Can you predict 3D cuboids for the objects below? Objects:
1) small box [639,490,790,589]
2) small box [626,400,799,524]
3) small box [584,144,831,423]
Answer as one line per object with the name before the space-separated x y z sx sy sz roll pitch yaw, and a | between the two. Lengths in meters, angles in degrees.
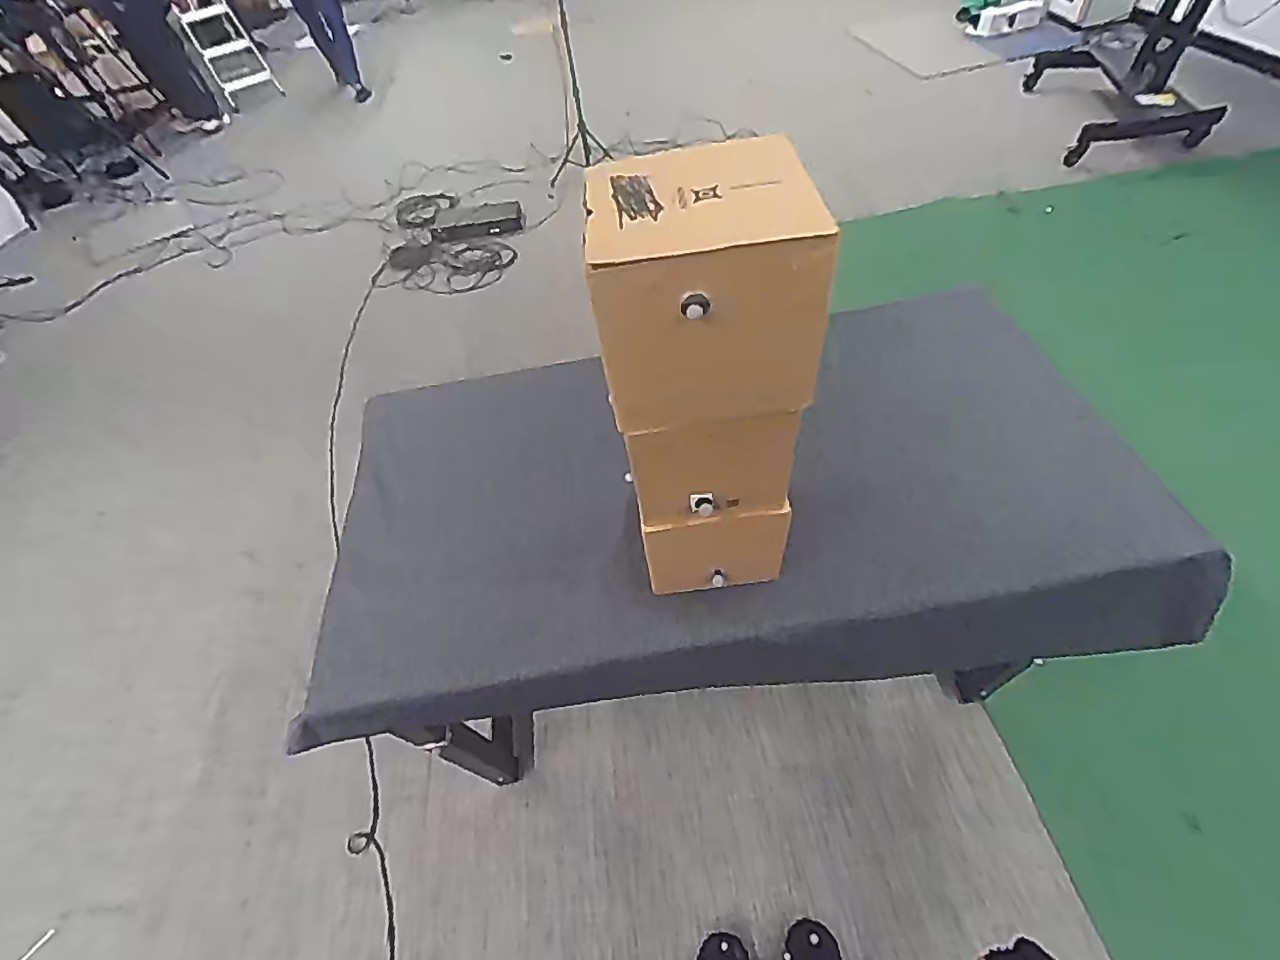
small box | 0.090 0.033 0.740 0.179 0.176 0.168 -8 52 1
small box | 0.070 -0.073 0.619 0.168 0.176 0.179 -10 53 2
small box | 0.053 -0.167 0.485 0.179 0.176 0.168 -6 52 3
